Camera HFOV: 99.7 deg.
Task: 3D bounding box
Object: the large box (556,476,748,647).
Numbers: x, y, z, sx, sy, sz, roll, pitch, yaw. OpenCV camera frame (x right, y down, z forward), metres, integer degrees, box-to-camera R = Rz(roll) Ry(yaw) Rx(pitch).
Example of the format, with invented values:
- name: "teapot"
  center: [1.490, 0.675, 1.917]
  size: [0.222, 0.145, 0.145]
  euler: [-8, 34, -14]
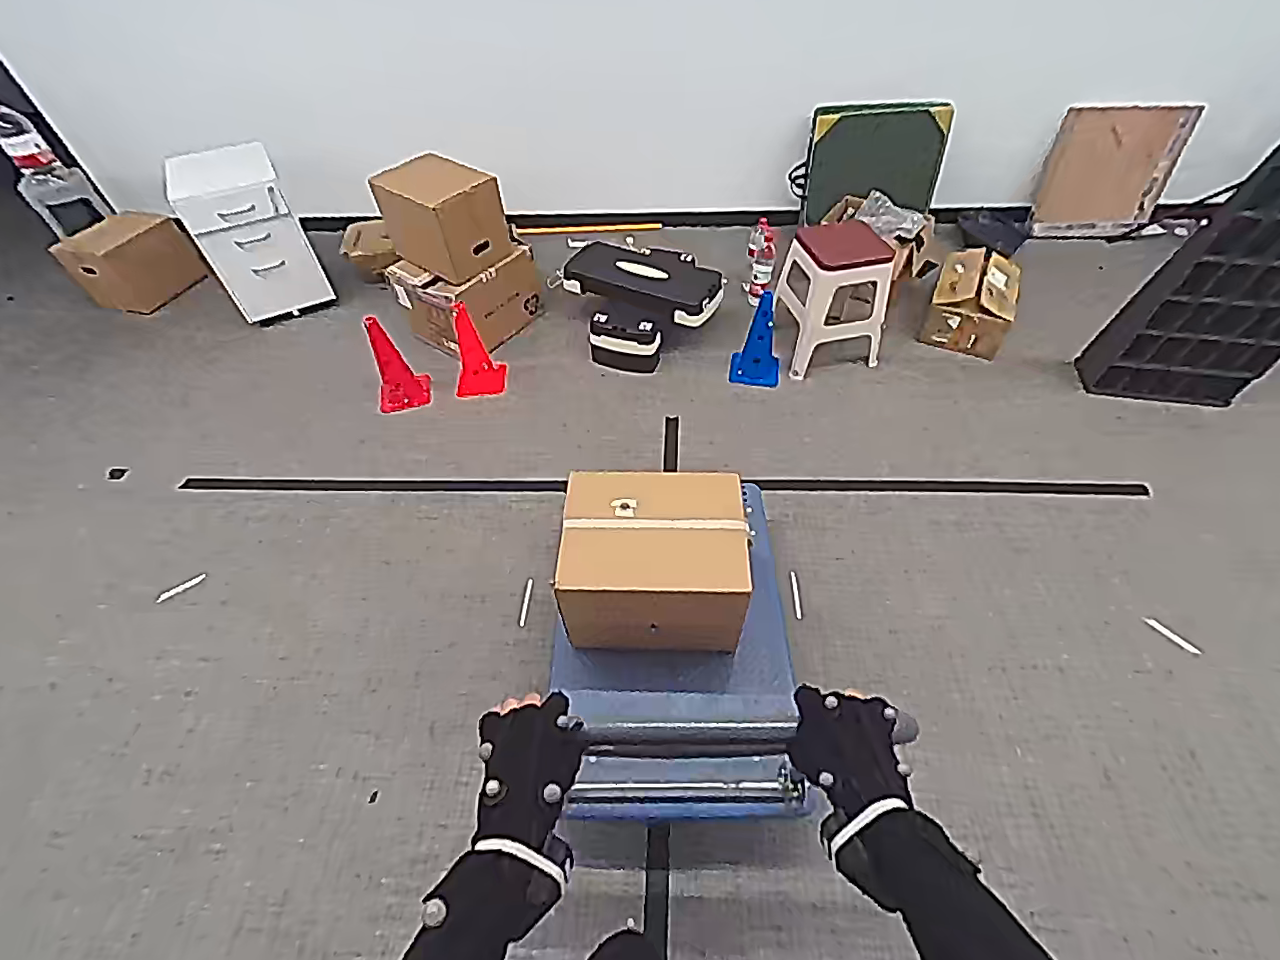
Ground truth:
- name: "large box"
  center: [0.033, 0.205, 1.314]
  size: [0.408, 0.320, 0.320]
  euler: [0, 51, 3]
